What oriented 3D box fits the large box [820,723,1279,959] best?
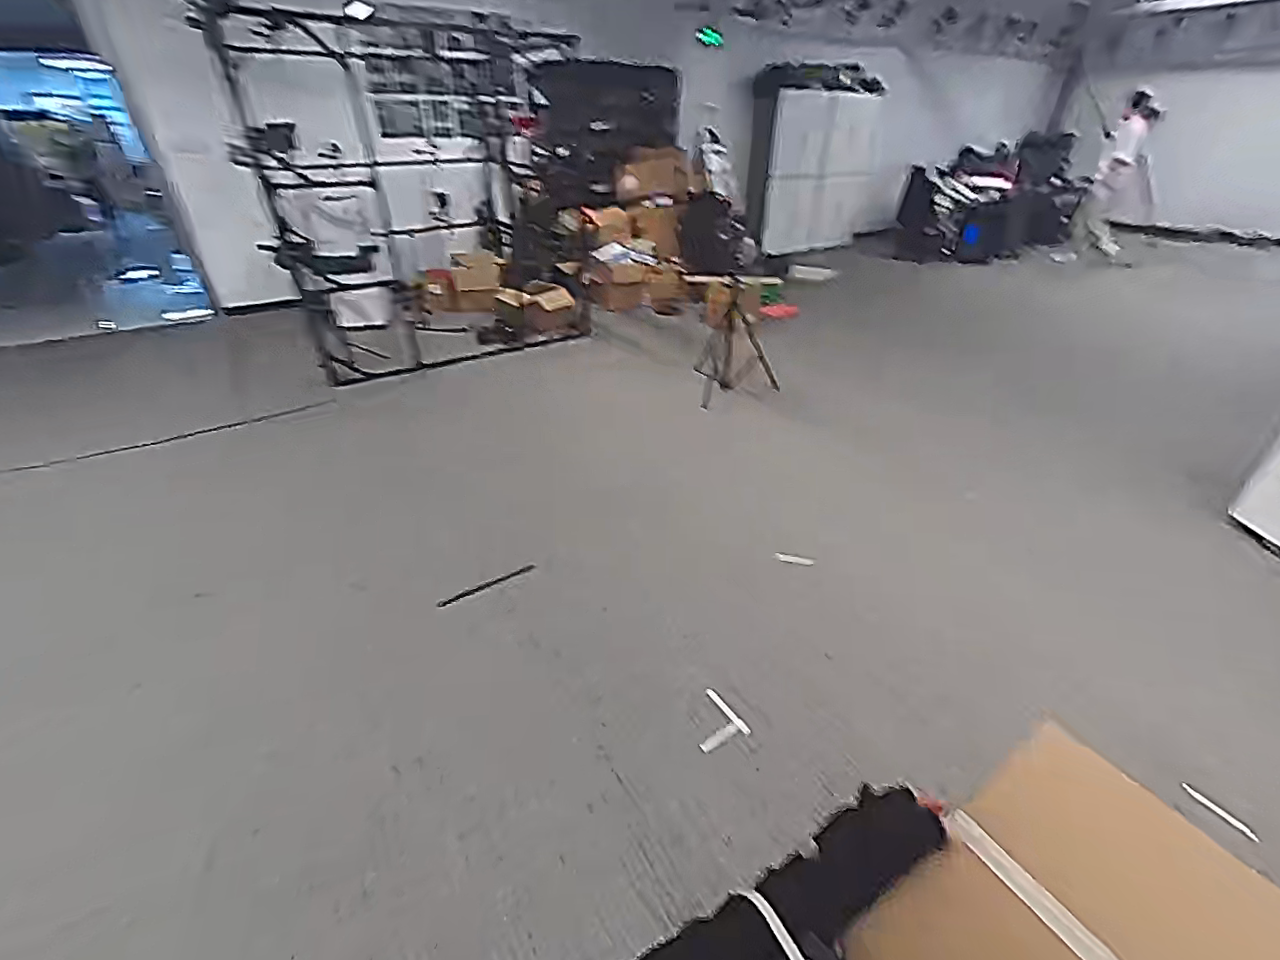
[{"bbox_3d":[0.394,0.512,0.449,0.320,0.320,0.408,-26,44,-23],"label":"large box"}]
